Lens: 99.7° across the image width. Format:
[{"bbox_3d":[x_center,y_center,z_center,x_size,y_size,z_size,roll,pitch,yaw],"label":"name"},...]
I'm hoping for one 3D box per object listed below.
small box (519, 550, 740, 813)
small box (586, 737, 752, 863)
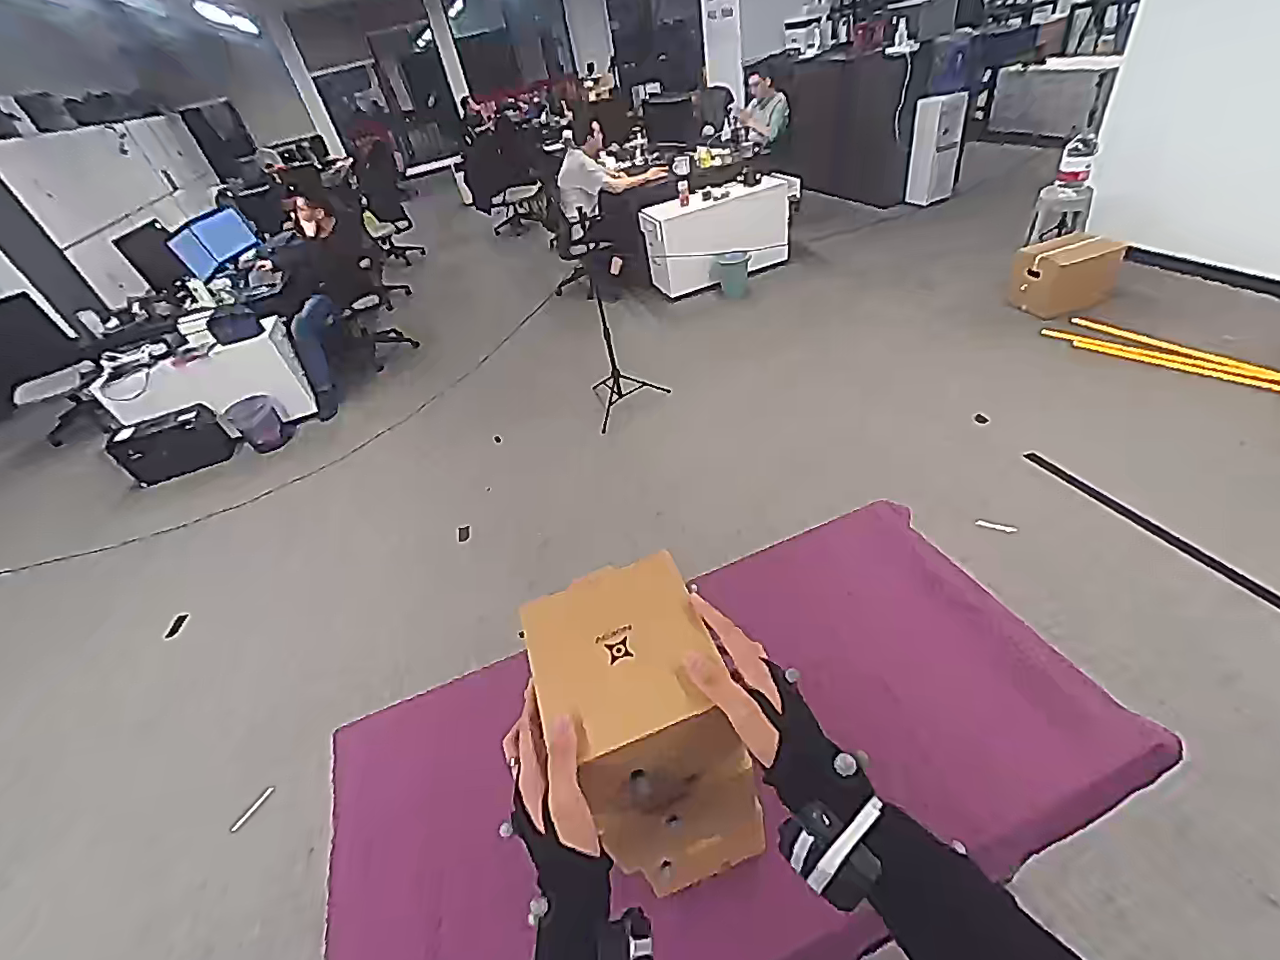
[{"bbox_3d":[-0.008,0.210,0.554,0.168,0.176,0.179,-20,42,-7],"label":"small box"},{"bbox_3d":[0.024,0.330,0.659,0.179,0.176,0.168,-20,43,-7],"label":"small box"}]
